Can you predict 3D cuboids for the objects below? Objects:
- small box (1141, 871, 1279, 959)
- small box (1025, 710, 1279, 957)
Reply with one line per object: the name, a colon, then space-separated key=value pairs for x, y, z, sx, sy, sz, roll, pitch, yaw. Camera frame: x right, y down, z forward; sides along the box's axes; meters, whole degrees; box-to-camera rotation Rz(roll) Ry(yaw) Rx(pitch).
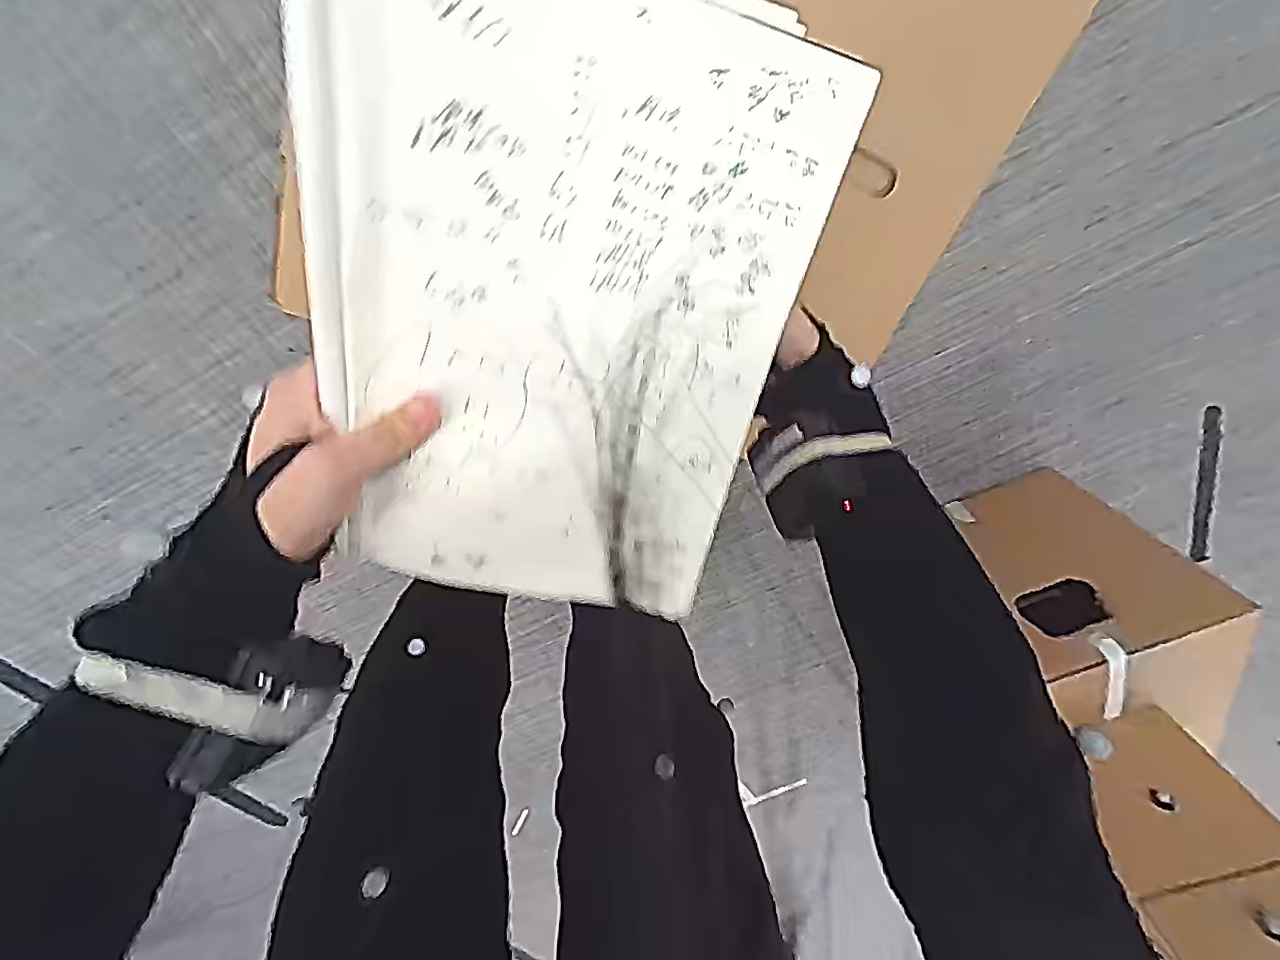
small box: x=0.617 y=0.488 z=0.494 sx=0.179 sy=0.176 sz=0.168 roll=-23 pitch=121 yaw=8
small box: x=0.590 y=0.407 z=0.634 sx=0.179 sy=0.176 sz=0.168 roll=-21 pitch=121 yaw=6
